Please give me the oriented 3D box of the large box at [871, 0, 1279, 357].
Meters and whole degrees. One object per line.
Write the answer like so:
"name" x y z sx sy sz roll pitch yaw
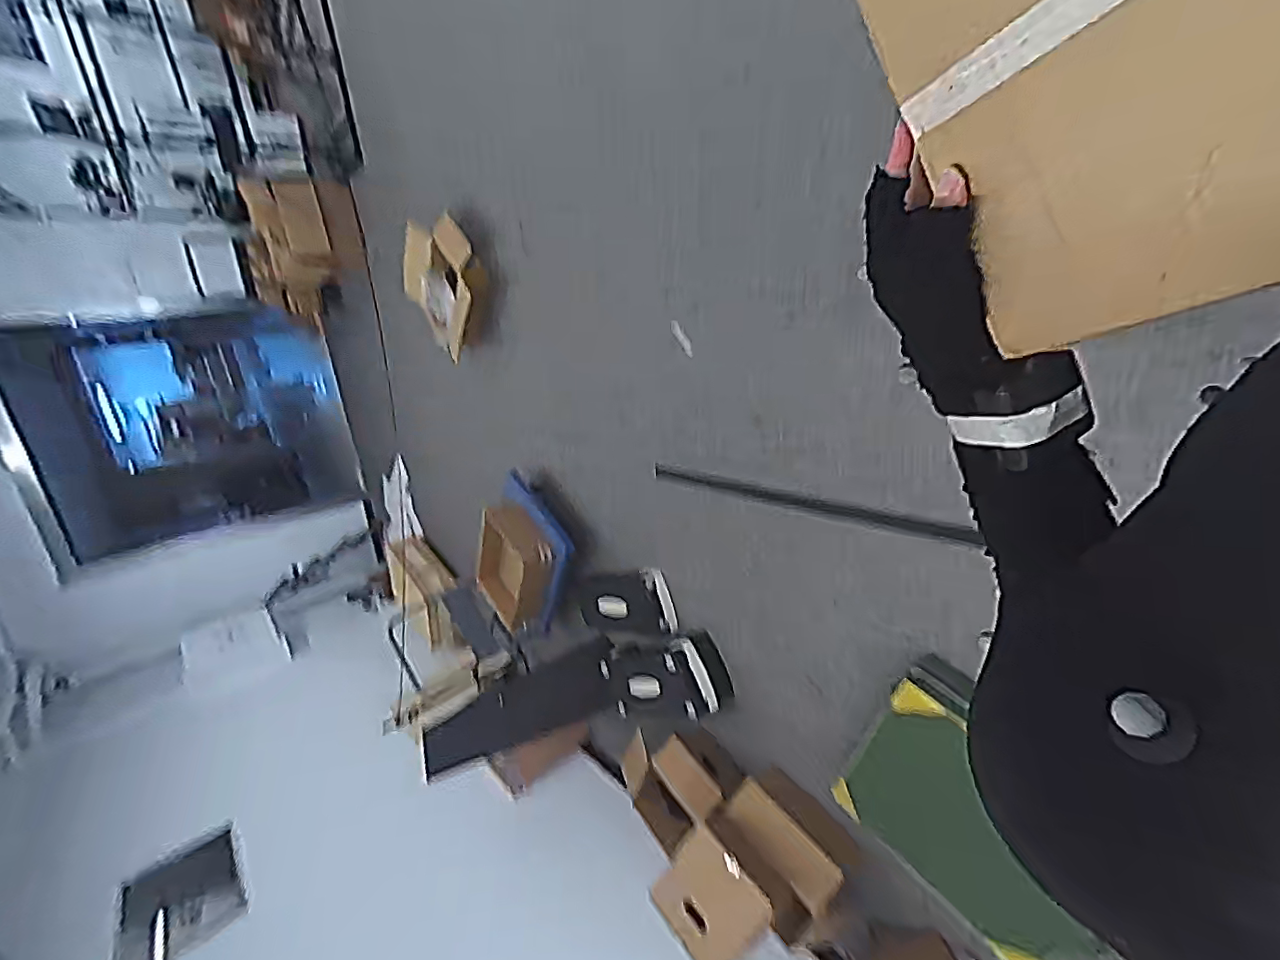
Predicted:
"large box" 0.381 -0.309 0.241 0.408 0.320 0.320 -13 107 56
